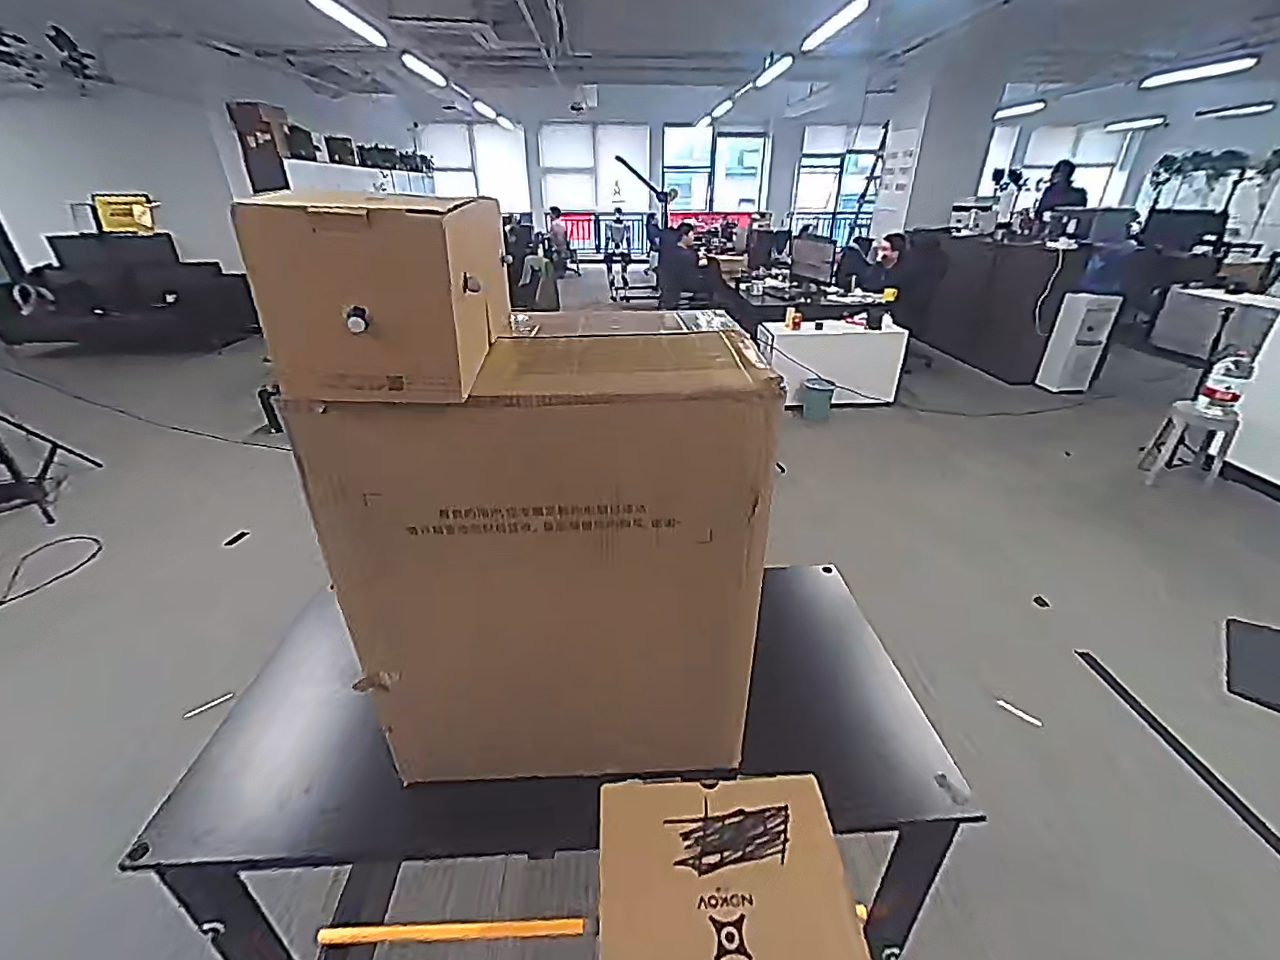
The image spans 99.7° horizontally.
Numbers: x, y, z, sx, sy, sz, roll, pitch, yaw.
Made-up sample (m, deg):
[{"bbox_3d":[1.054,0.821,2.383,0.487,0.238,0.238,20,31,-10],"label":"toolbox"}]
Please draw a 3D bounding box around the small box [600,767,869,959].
[{"bbox_3d":[0.055,0.339,0.391,0.168,0.176,0.179,-2,36,-2],"label":"small box"}]

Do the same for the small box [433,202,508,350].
[{"bbox_3d":[-0.274,-0.270,0.712,0.168,0.176,0.179,-3,27,-4],"label":"small box"}]

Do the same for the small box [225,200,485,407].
[{"bbox_3d":[-0.256,-0.179,0.542,0.168,0.176,0.179,-1,30,-7],"label":"small box"}]
